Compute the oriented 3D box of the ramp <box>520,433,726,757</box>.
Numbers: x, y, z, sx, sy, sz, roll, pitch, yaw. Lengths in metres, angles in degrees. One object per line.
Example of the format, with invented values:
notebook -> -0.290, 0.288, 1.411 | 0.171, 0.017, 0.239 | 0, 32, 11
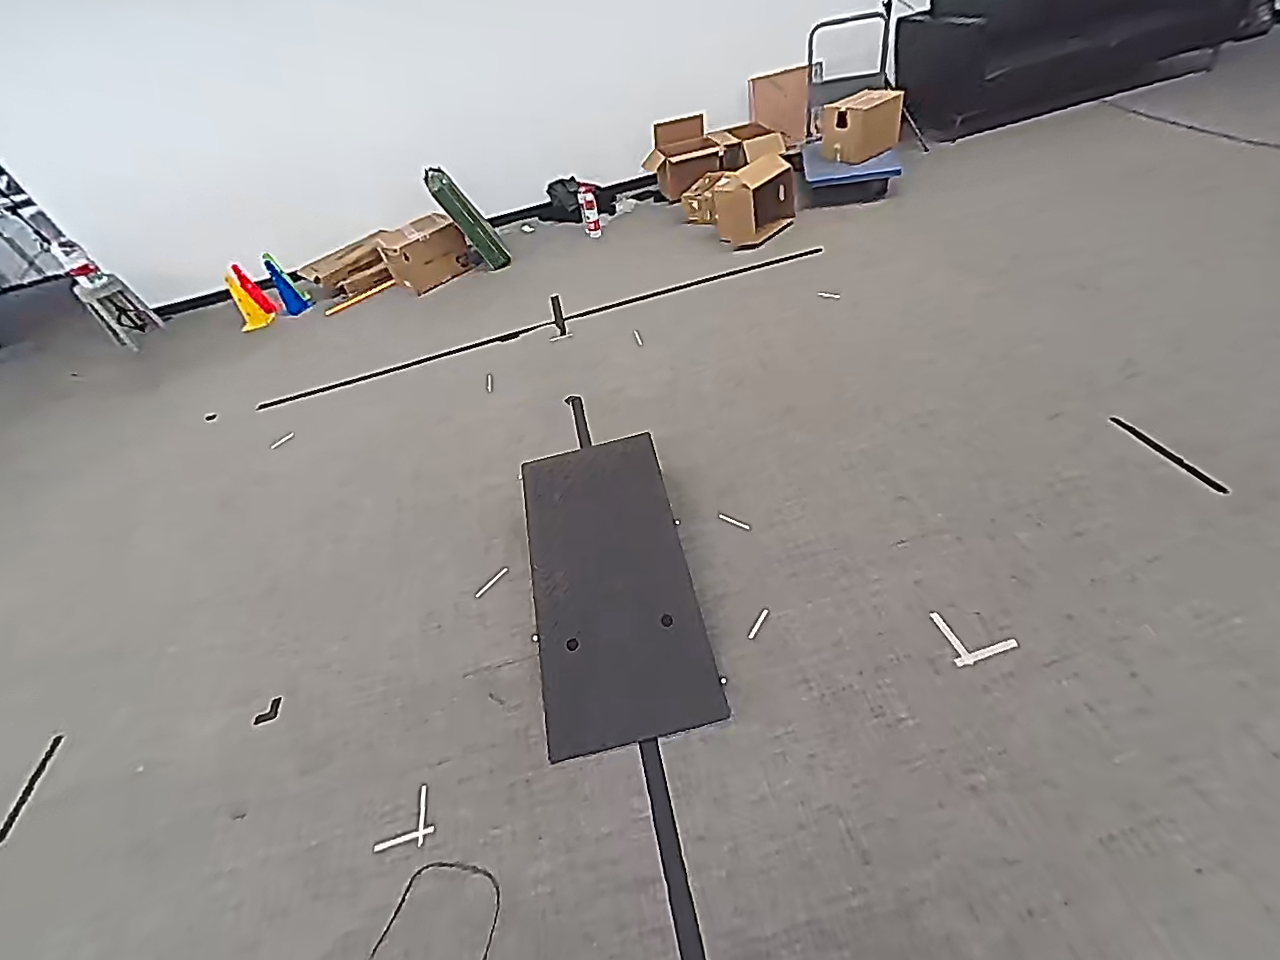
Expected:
ramp -> -0.101, 0.279, 1.705 | 0.509, 0.206, 0.991 | -15, 45, -2
